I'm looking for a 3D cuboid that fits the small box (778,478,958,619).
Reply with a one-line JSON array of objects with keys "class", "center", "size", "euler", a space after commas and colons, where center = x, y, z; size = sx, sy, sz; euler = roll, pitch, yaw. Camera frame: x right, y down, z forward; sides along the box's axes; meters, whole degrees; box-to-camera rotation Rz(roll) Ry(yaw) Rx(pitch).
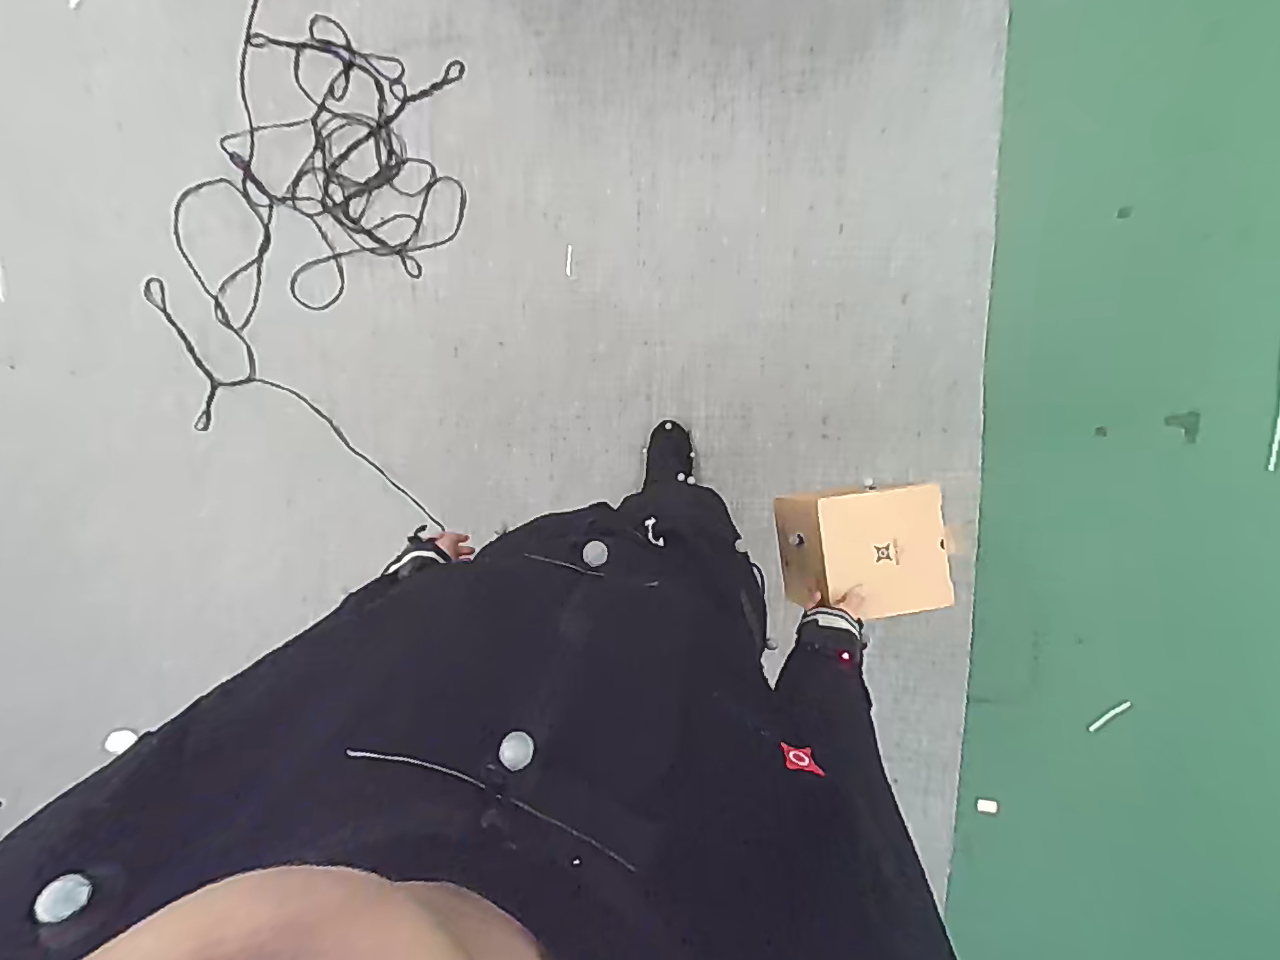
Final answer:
[{"class": "small box", "center": [0.311, 0.091, 0.775], "size": [0.179, 0.176, 0.168], "euler": [-8, 90, -8]}]
